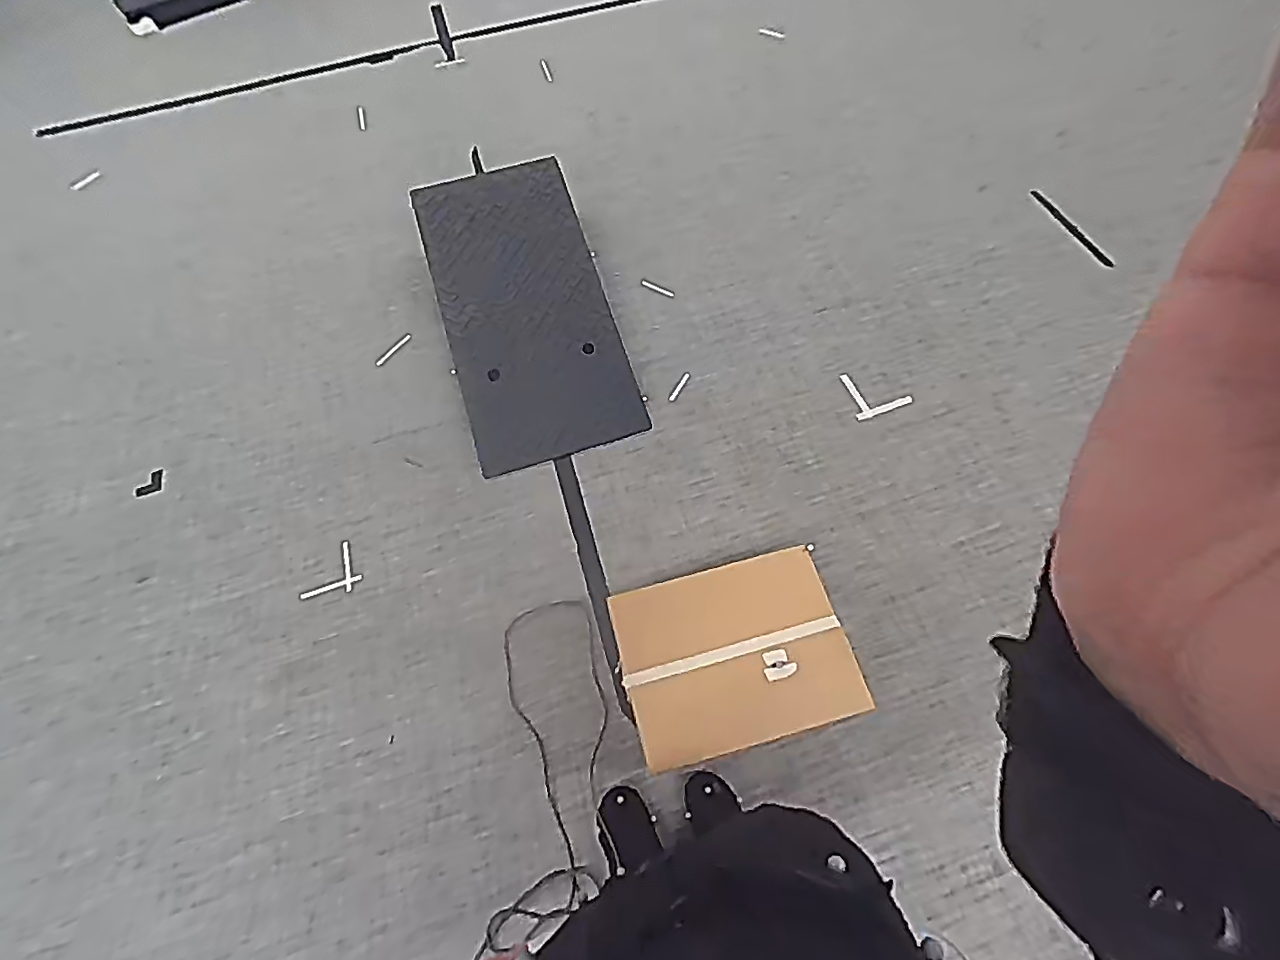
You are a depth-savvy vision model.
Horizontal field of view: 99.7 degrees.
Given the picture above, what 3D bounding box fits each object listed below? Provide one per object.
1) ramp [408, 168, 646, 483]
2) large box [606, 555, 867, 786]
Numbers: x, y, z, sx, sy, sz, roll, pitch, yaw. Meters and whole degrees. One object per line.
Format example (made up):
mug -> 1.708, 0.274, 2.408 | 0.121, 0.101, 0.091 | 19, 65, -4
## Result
ramp -> -0.361, -0.511, 1.644 | 0.509, 0.206, 0.991 | -18, 65, -8
large box -> 0.167, 0.395, 1.112 | 0.408, 0.320, 0.320 | -14, 65, -6
